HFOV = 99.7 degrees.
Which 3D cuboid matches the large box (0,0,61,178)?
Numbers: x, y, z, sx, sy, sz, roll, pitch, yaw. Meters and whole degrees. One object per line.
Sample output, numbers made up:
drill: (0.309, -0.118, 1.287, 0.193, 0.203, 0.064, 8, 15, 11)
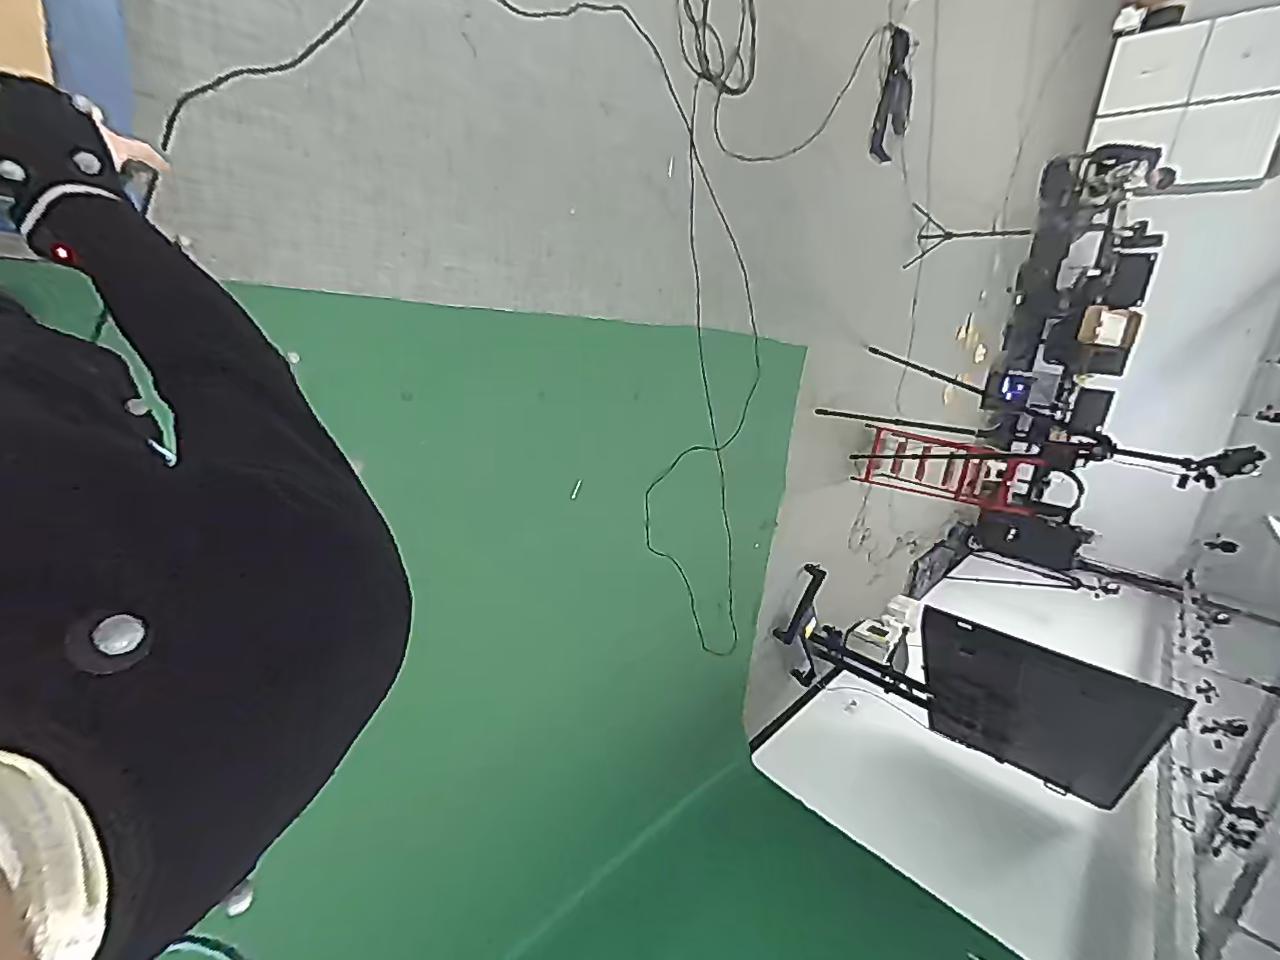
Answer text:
large box: (-0.996, -0.657, 0.684, 0.320, 0.320, 0.408, -10, 111, -46)
